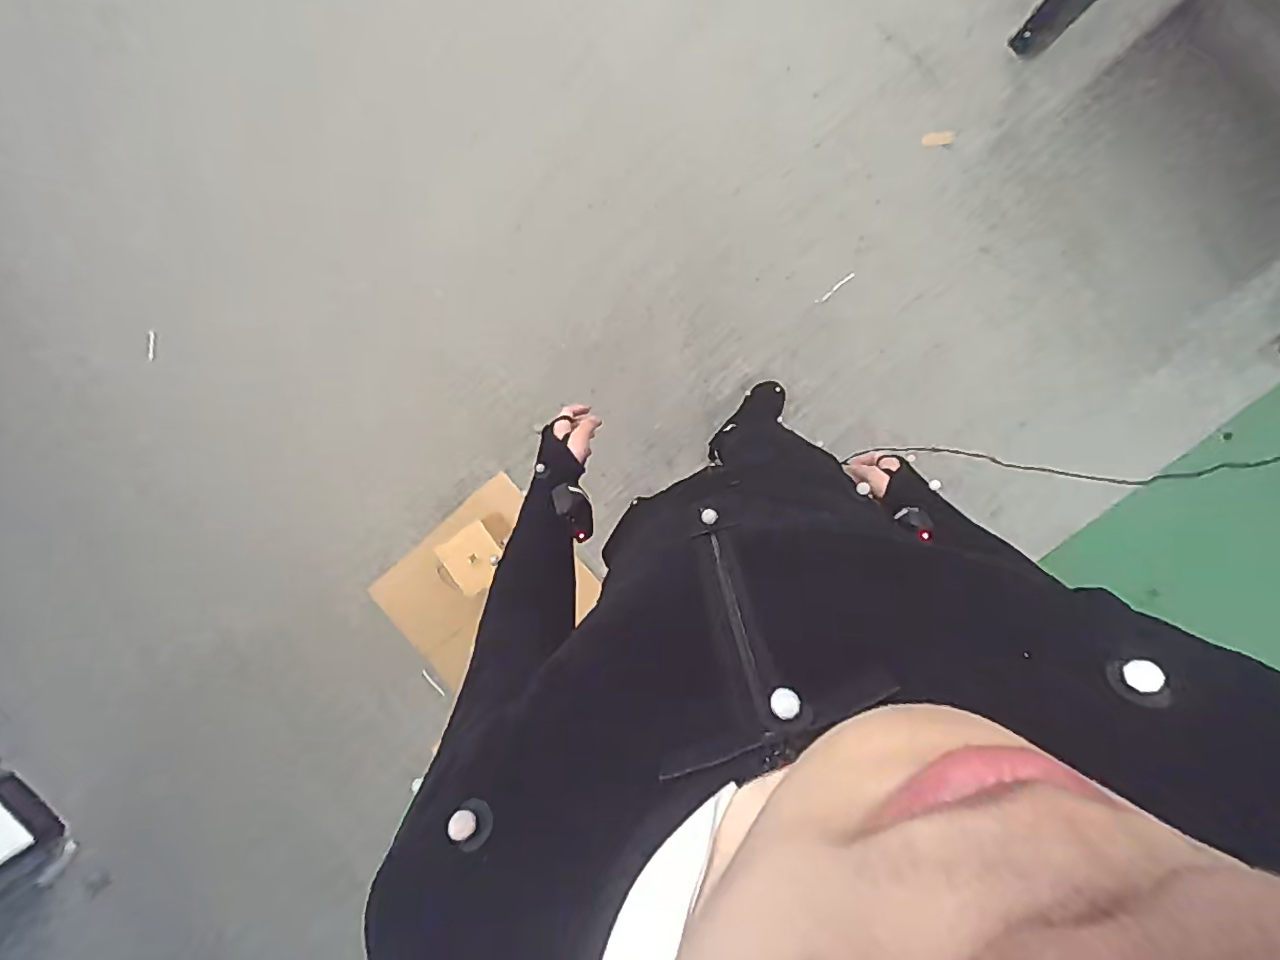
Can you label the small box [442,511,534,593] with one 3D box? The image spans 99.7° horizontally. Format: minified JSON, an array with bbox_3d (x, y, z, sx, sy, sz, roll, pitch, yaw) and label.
[{"bbox_3d":[-0.448,0.205,1.619,0.168,0.176,0.179,-35,93,8],"label":"small box"}]
